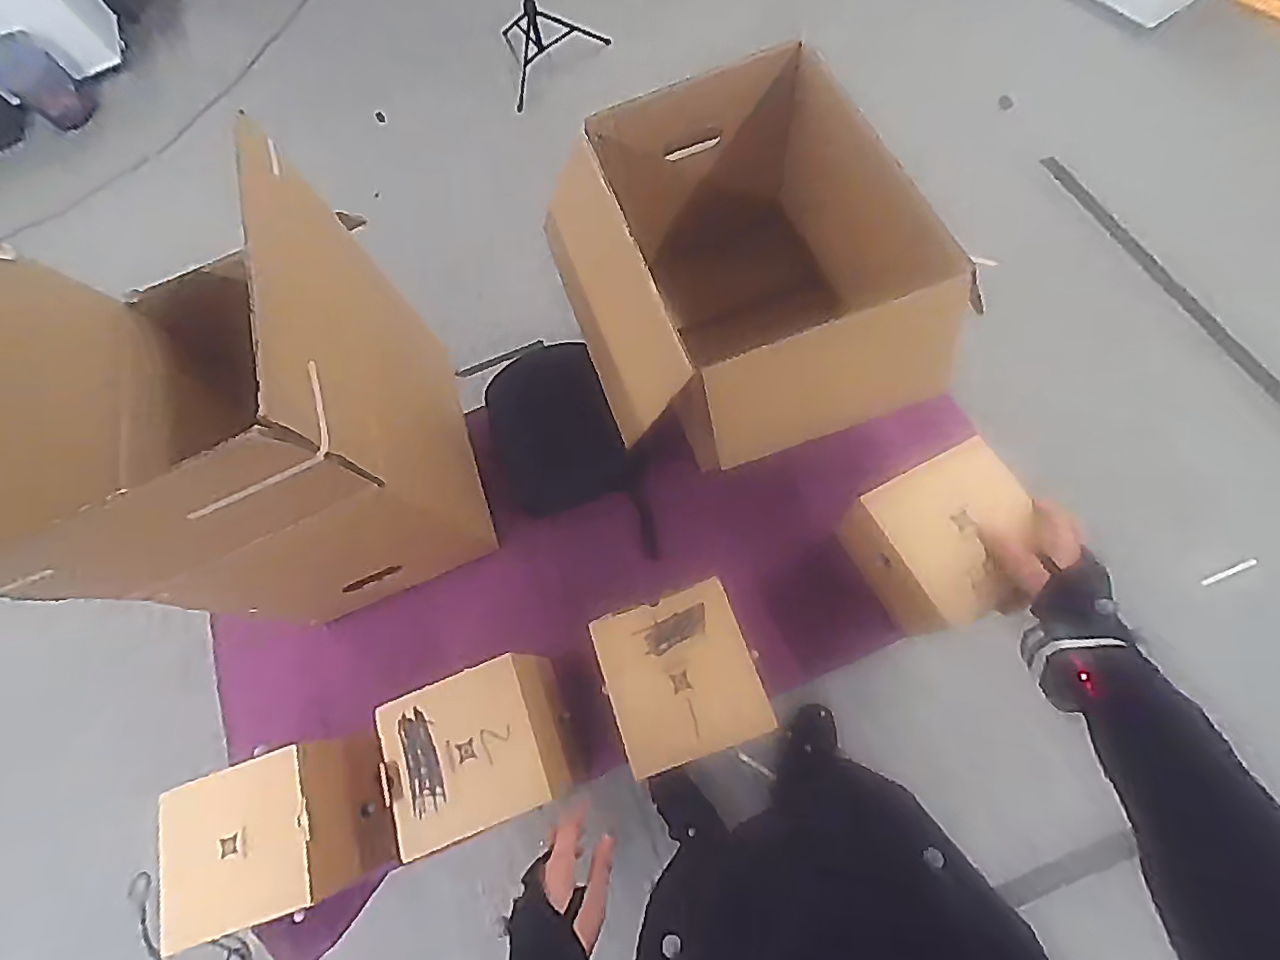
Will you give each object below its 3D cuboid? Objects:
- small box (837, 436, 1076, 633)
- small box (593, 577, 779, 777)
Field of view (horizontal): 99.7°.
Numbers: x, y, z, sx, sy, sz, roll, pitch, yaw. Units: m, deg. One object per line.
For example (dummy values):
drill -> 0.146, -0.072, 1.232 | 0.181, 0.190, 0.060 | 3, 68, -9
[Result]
small box -> 0.377, 0.079, 0.689 | 0.168, 0.176, 0.179 | -28, 70, -1
small box -> 0.055, 0.241, 0.679 | 0.168, 0.176, 0.179 | -20, 71, 1
